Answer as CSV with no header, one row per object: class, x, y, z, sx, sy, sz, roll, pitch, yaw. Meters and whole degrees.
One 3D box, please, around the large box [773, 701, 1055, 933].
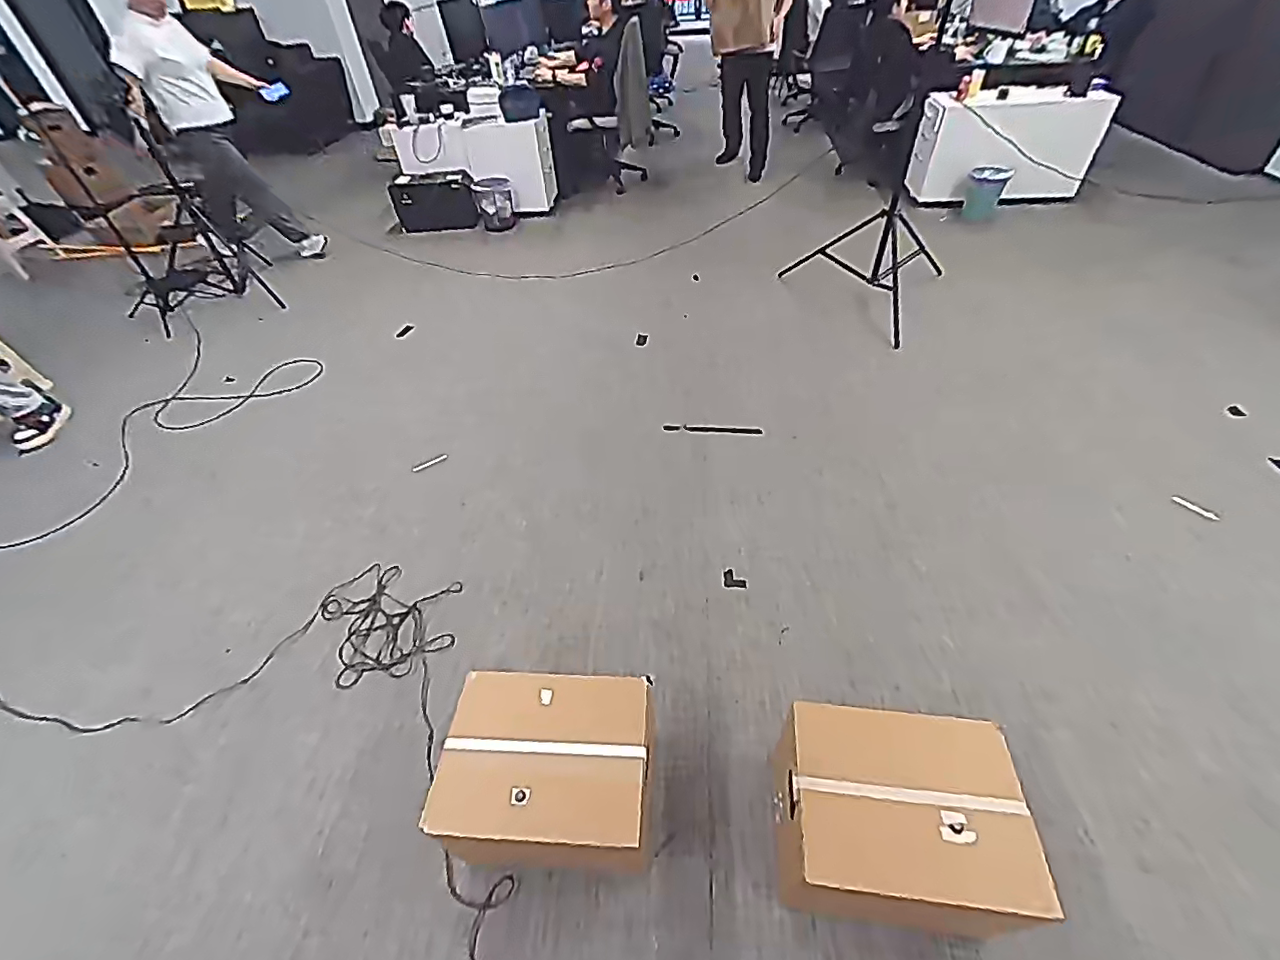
large box,0.503,0.687,1.108,0.408,0.320,0.320,4,46,7
